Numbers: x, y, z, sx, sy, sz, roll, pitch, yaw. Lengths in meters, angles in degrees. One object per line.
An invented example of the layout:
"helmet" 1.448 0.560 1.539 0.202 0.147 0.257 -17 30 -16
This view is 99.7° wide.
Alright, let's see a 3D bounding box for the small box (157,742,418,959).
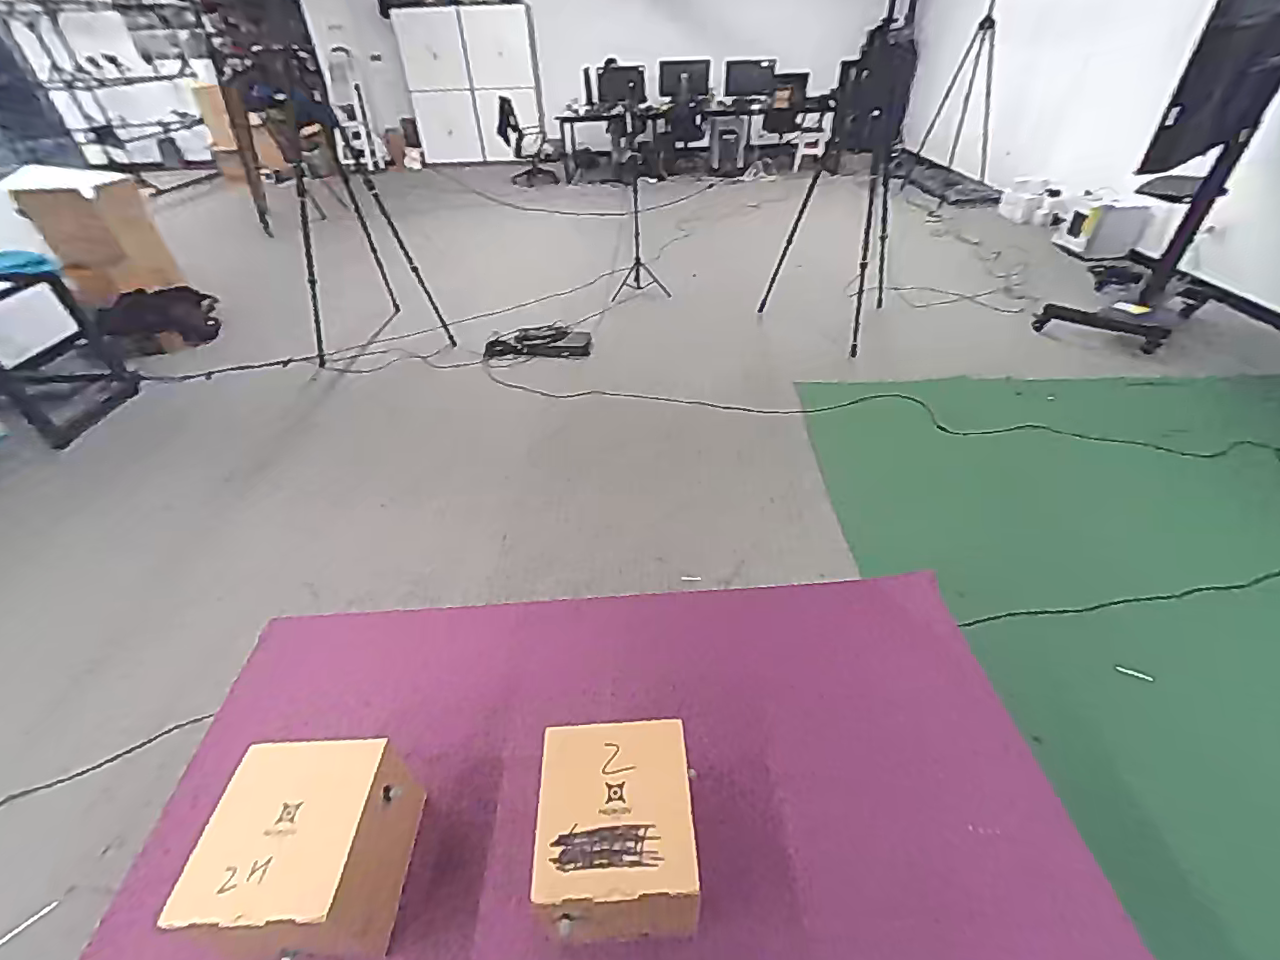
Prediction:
"small box" -0.377 0.430 0.625 0.168 0.176 0.179 -3 39 0
